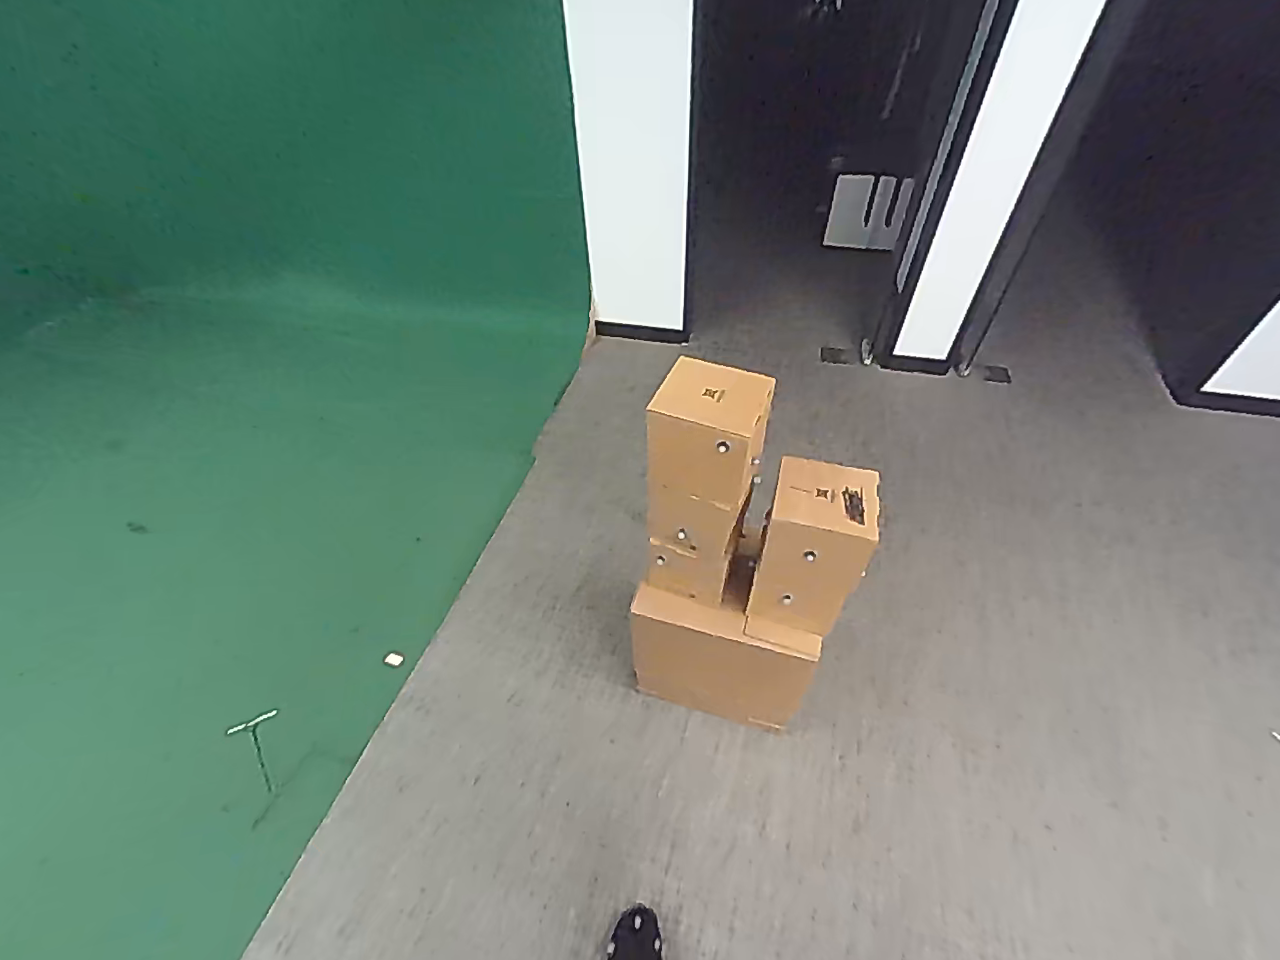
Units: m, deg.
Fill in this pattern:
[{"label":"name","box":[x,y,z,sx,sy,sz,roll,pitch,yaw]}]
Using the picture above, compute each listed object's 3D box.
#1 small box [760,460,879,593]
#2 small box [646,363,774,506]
[{"label":"small box","box":[0.331,0.089,1.007,0.179,0.176,0.168,10,48,14]},{"label":"small box","box":[0.120,-0.078,0.952,0.179,0.176,0.168,17,49,16]}]
